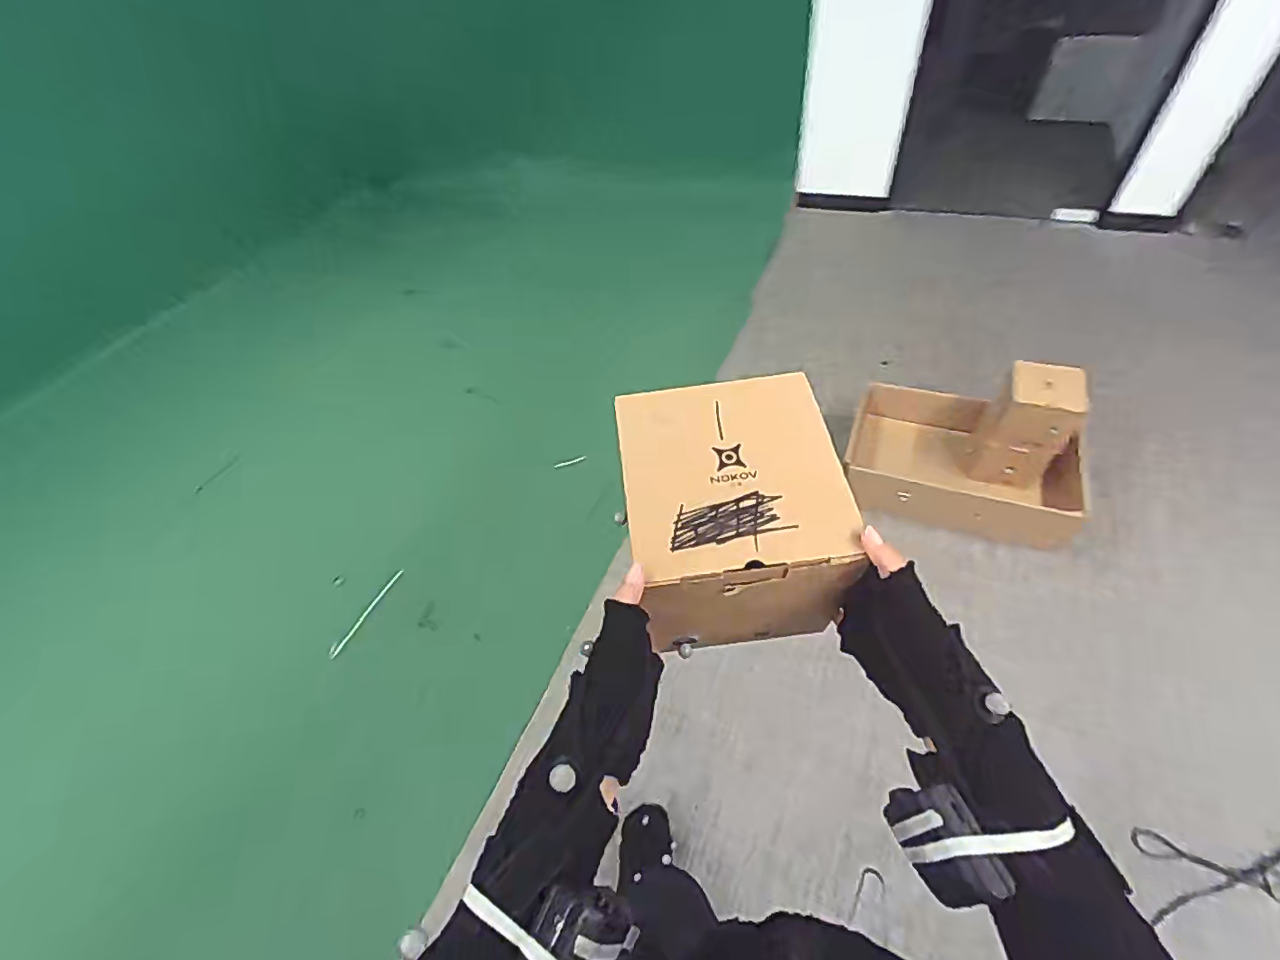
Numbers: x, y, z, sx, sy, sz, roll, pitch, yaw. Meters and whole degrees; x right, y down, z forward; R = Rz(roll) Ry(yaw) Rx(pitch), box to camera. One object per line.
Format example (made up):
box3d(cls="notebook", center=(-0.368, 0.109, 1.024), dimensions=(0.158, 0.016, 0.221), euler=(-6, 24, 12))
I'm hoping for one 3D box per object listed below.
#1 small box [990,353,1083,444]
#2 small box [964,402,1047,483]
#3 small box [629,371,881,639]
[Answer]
box3d(cls="small box", center=(1.097, -0.224, 1.506), dimensions=(0.168, 0.176, 0.179), euler=(14, 54, 20))
box3d(cls="small box", center=(1.107, -0.111, 1.649), dimensions=(0.168, 0.176, 0.179), euler=(9, 53, 18))
box3d(cls="small box", center=(0.083, 0.031, 0.479), dimensions=(0.168, 0.176, 0.179), euler=(-6, 56, 0))
